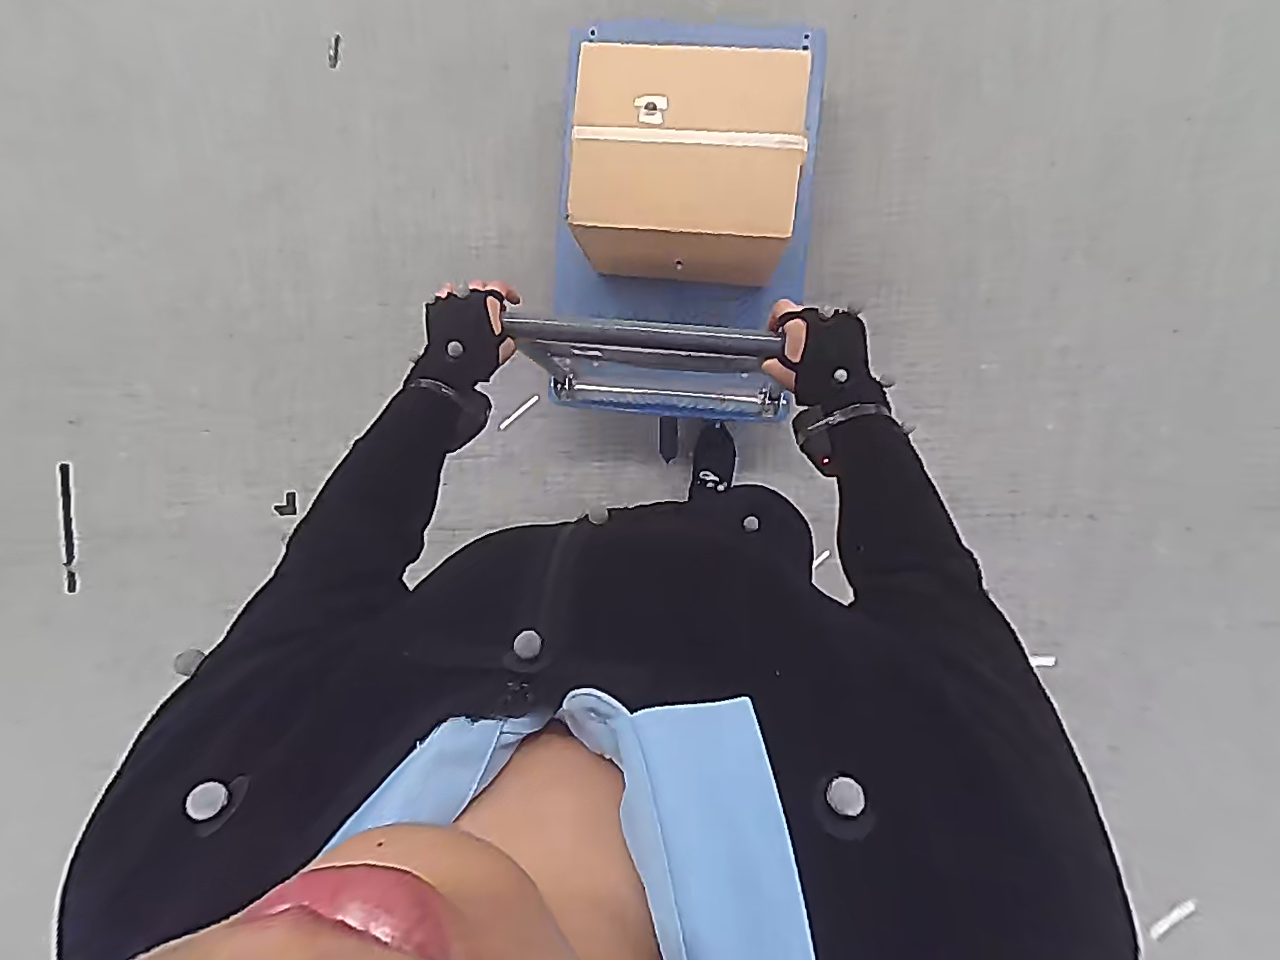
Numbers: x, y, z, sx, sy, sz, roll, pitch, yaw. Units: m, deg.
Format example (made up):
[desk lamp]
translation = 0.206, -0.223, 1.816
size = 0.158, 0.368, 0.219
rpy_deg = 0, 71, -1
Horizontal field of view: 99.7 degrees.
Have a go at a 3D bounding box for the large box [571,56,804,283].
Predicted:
[large box]
translation = 0.097, -0.613, 1.120
size = 0.408, 0.320, 0.320
rpy_deg = 6, 94, 6
